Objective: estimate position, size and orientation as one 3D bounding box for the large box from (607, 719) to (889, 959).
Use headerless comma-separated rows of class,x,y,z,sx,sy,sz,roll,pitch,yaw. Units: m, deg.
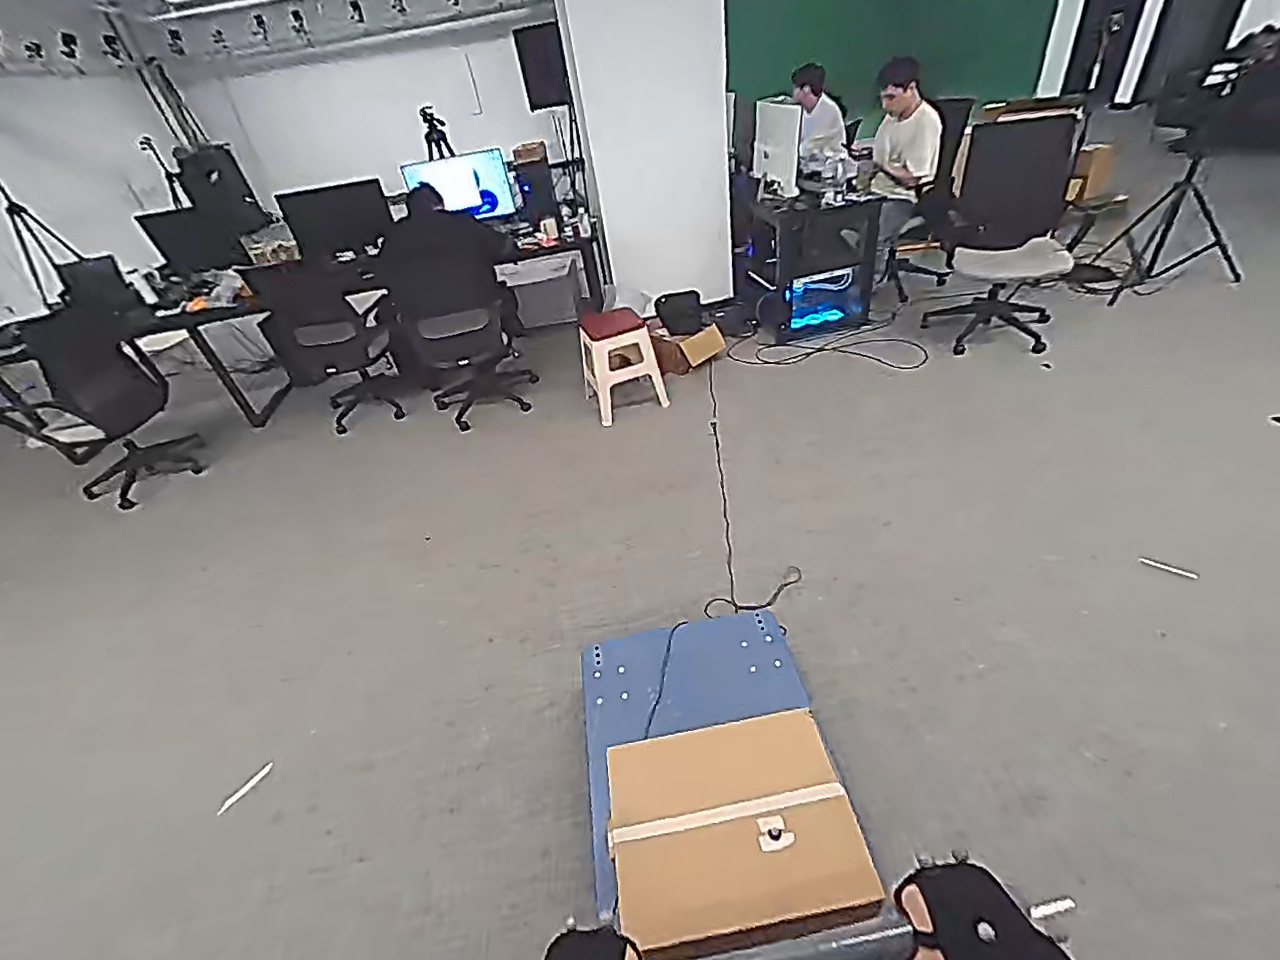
large box,0.172,0.700,0.991,0.408,0.320,0.320,-11,37,-2
